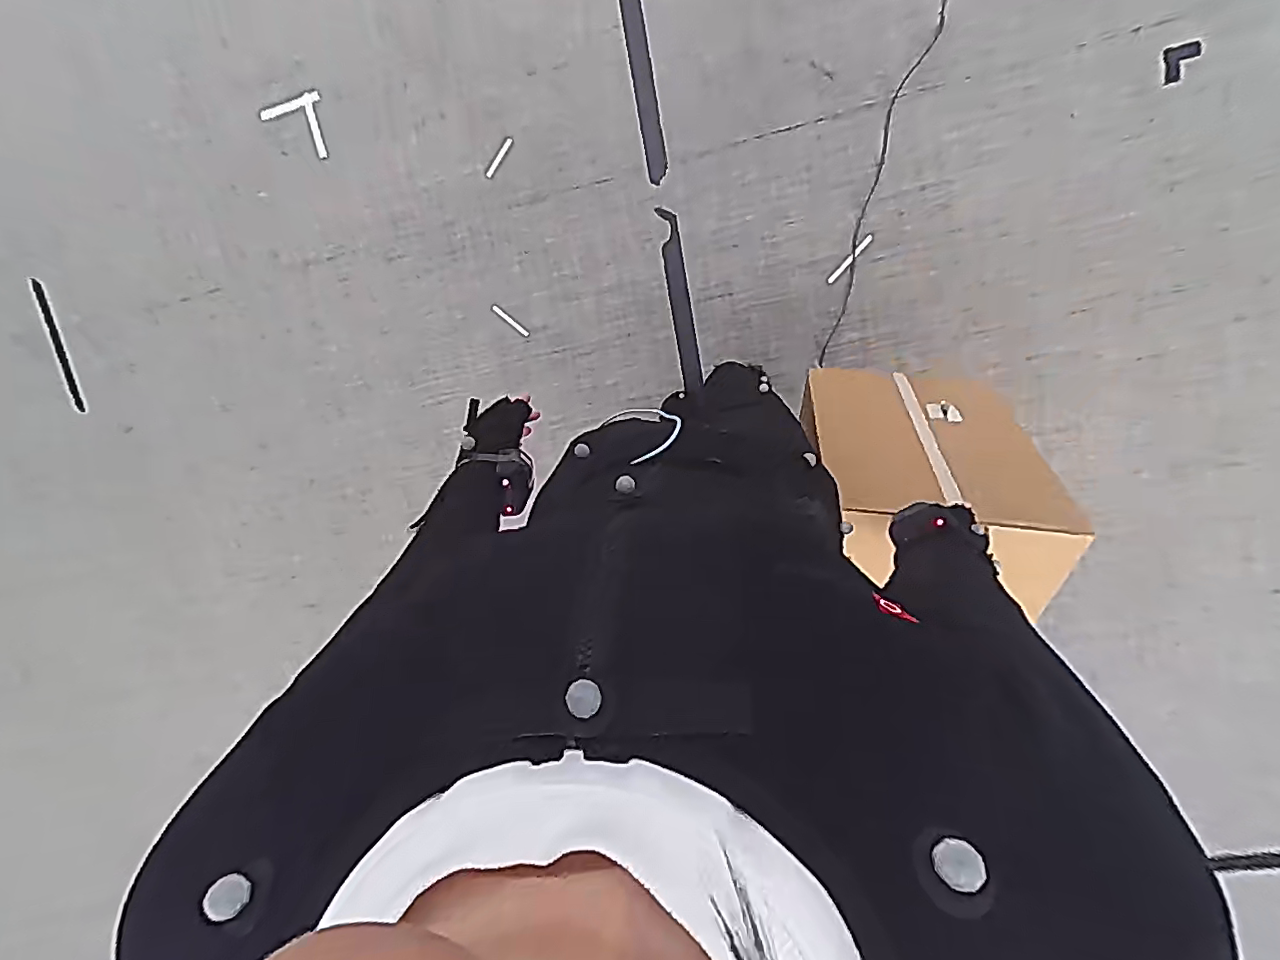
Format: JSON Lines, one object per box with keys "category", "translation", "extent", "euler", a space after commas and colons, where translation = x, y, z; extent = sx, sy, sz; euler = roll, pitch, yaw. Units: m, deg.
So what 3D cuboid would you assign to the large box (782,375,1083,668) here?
{"category": "large box", "translation": [0.431, 0.053, 0.930], "extent": [0.320, 0.408, 0.320], "euler": [6, 127, 7]}
